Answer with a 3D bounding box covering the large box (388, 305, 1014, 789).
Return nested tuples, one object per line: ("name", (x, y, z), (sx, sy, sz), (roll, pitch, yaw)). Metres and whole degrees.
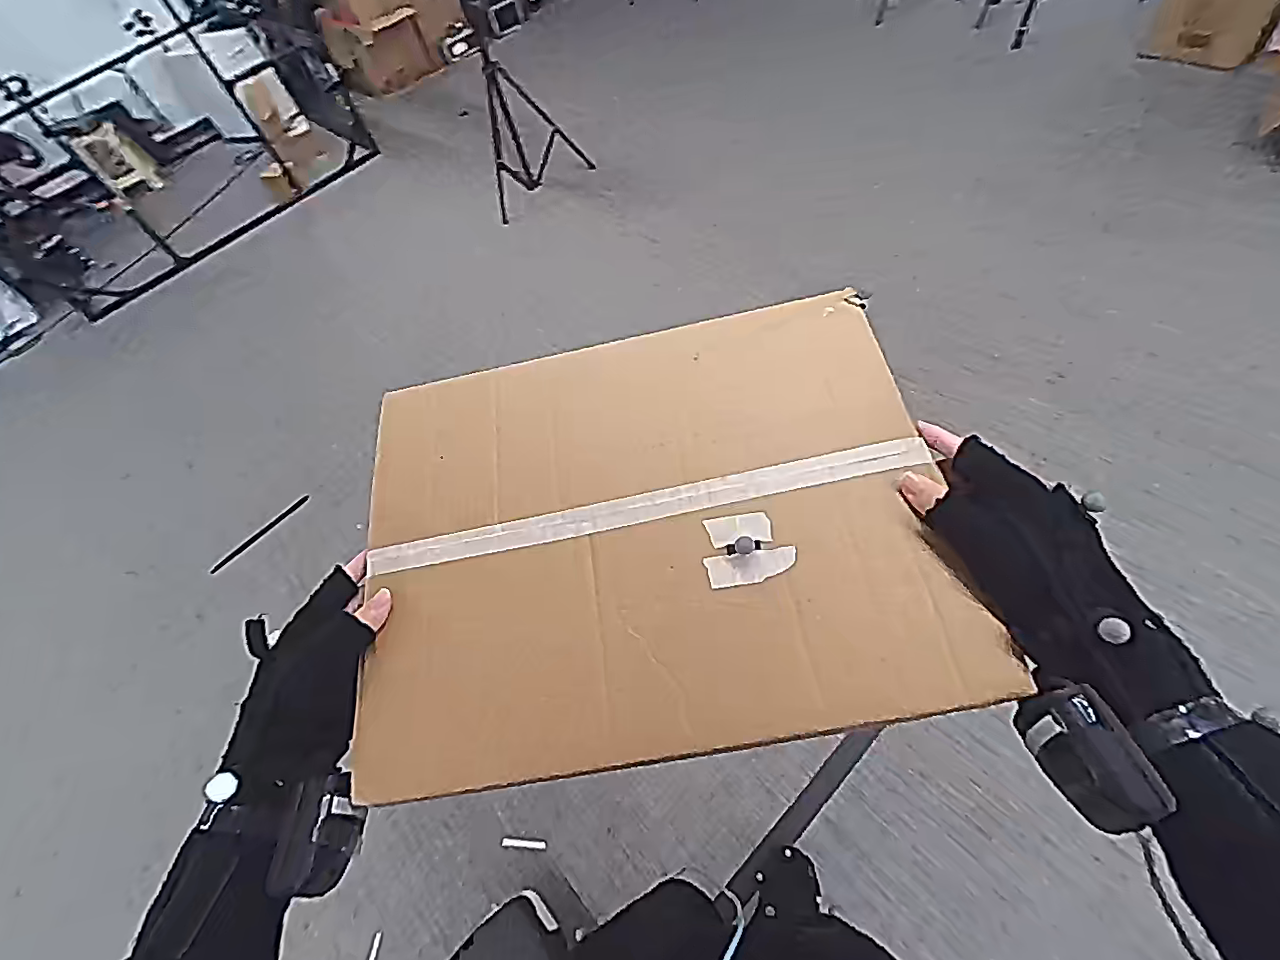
("large box", (0.030, 0.089, 0.532), (0.408, 0.320, 0.320), (-11, 63, 4))
